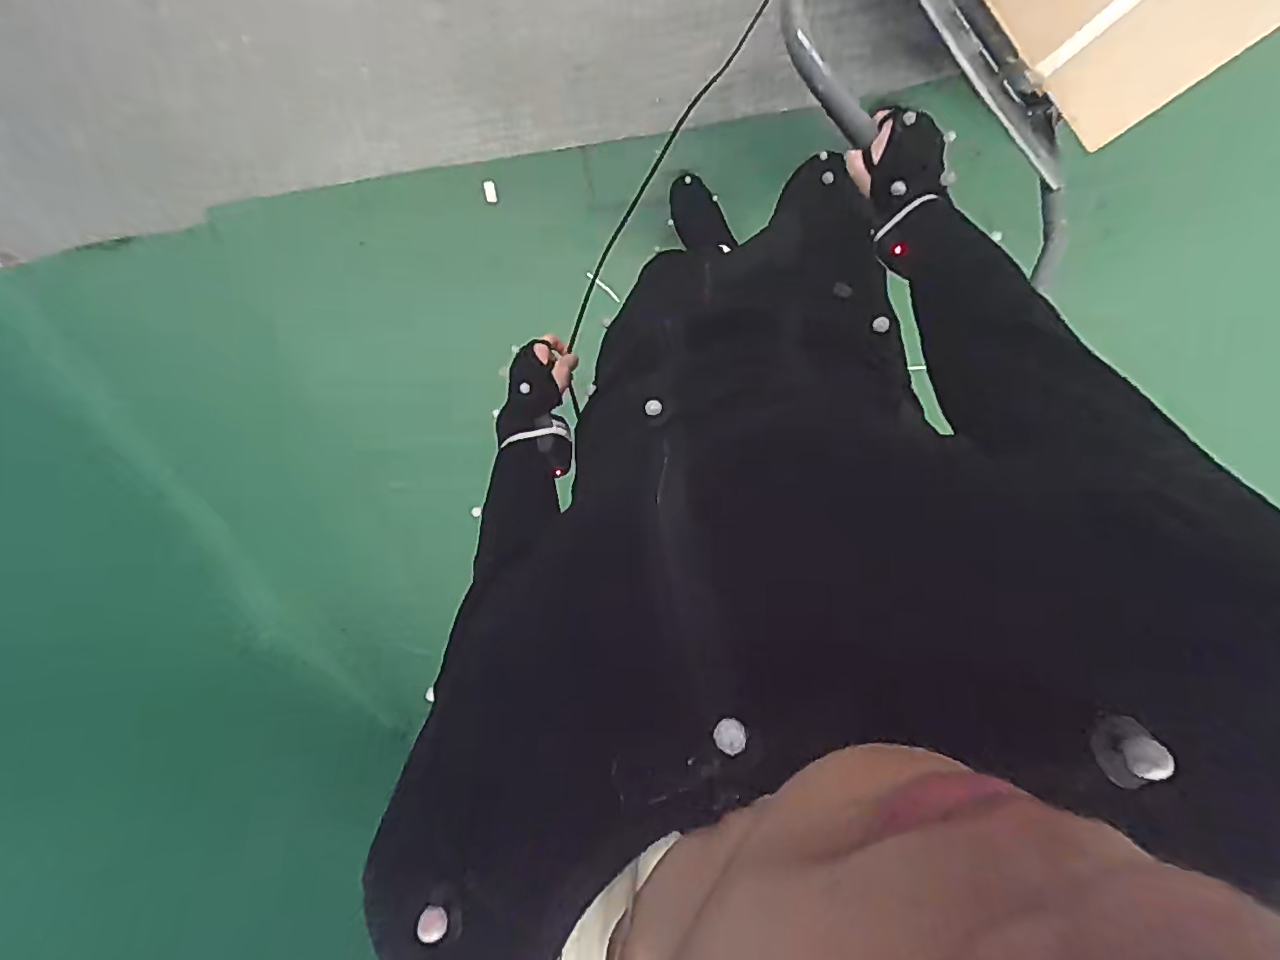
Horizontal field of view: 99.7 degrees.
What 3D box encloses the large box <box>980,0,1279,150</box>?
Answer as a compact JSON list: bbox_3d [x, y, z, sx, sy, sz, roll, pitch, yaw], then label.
[{"bbox_3d":[0.732,-0.767,0.730,0.320,0.320,0.408,39,140,-17],"label":"large box"}]
